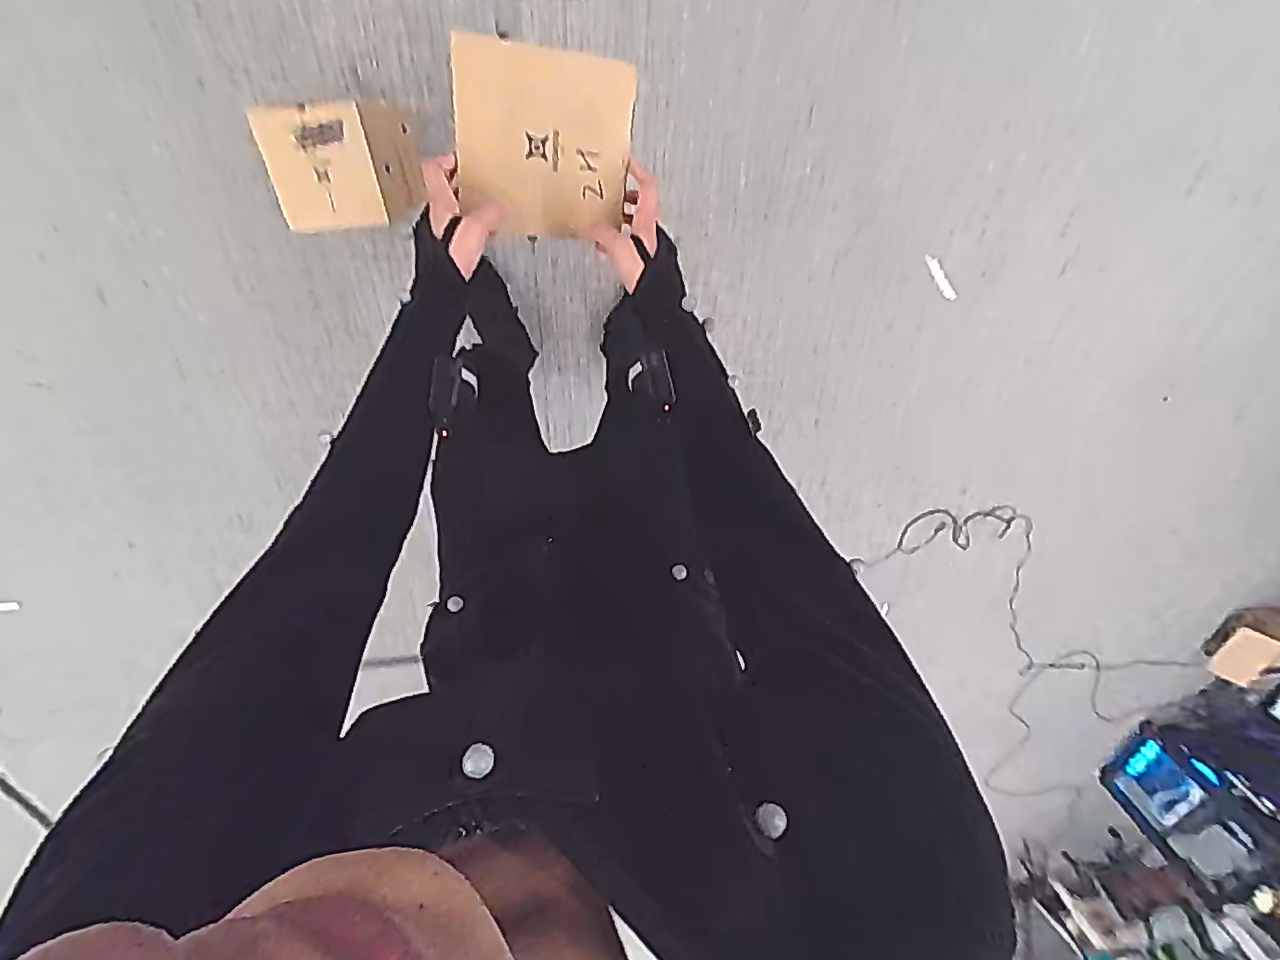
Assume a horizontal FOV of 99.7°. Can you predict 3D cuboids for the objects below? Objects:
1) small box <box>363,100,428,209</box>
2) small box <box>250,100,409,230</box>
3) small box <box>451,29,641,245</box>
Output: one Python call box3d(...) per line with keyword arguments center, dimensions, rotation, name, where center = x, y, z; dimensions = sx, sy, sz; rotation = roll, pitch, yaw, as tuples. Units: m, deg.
box3d(center=(-0.536, -0.635, 1.070), dimensions=(0.168, 0.176, 0.179), rotation=(-8, 123, -4), name="small box")
box3d(center=(-0.519, -0.543, 0.935), dimensions=(0.168, 0.176, 0.179), rotation=(-7, 124, -5), name="small box")
box3d(center=(-0.108, -0.378, 0.606), dimensions=(0.179, 0.176, 0.168), rotation=(1, 126, -13), name="small box")
